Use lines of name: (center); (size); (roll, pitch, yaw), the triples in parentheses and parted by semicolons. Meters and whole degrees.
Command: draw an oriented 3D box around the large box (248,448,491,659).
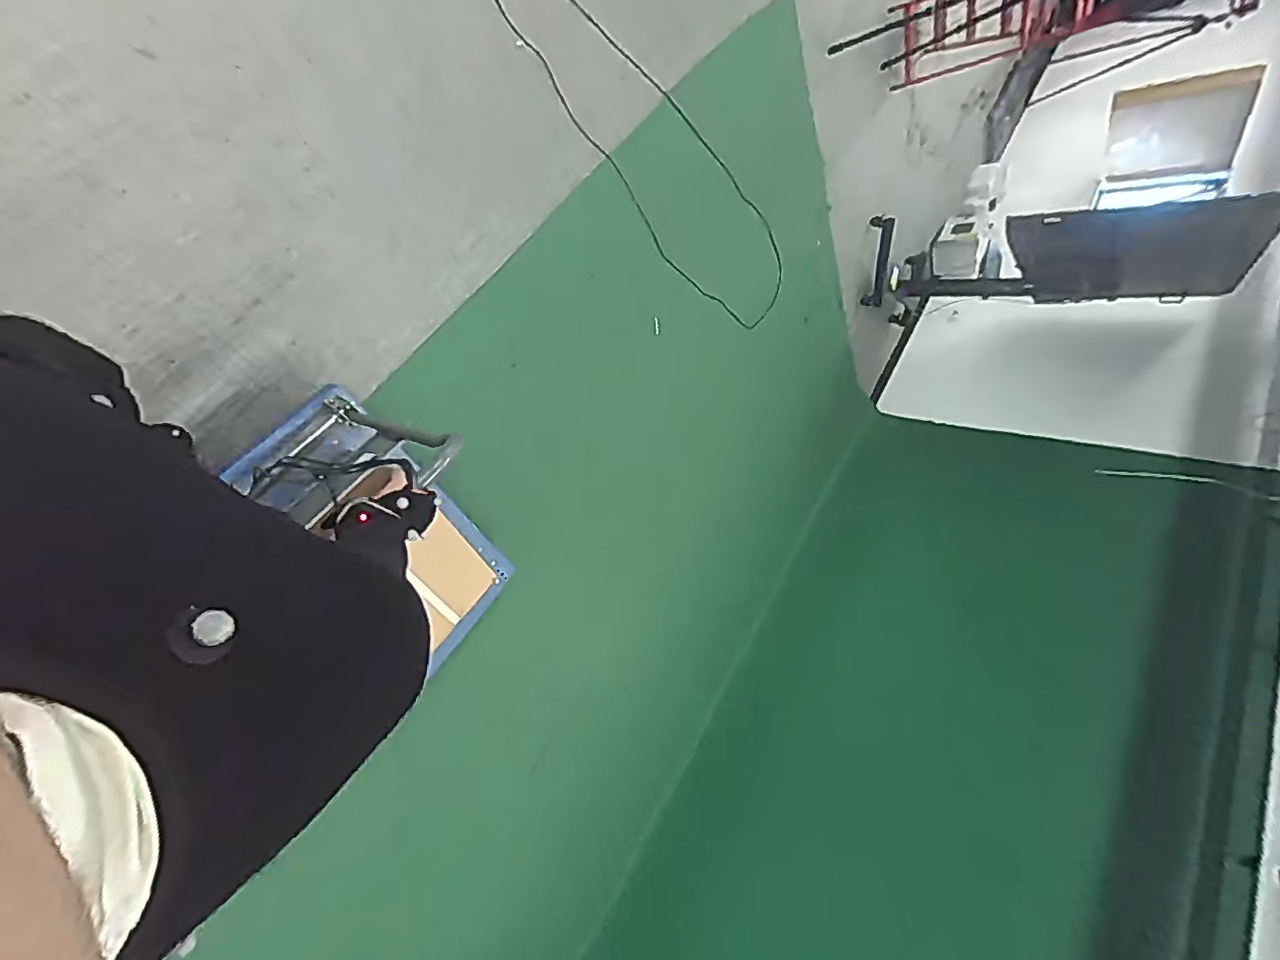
large box: (-0.674, 0.180, 1.384); (0.320, 0.320, 0.408); (-50, 137, -26)
